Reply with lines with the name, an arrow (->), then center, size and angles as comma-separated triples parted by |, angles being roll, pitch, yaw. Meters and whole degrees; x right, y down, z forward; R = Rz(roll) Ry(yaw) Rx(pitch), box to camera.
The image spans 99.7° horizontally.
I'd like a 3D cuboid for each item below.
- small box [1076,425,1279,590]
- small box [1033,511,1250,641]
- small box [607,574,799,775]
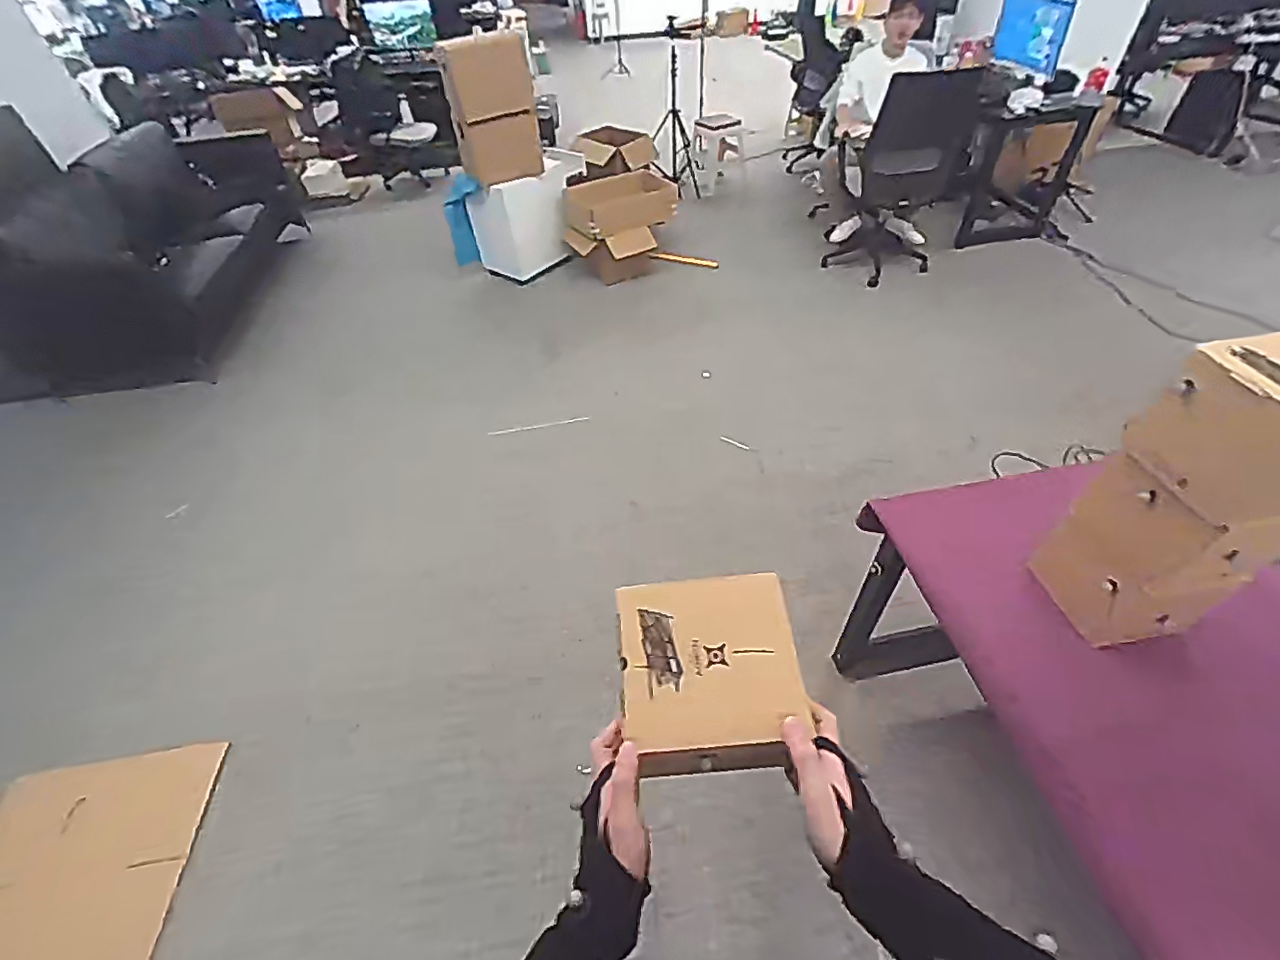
small box -> 0.817, 0.048, 0.804 | 0.168, 0.176, 0.179 | -9, 46, -3
small box -> 0.831, 0.158, 0.922 | 0.168, 0.176, 0.179 | -8, 47, -3
small box -> 0.061, 0.222, 0.603 | 0.179, 0.176, 0.168 | -5, 54, 1
